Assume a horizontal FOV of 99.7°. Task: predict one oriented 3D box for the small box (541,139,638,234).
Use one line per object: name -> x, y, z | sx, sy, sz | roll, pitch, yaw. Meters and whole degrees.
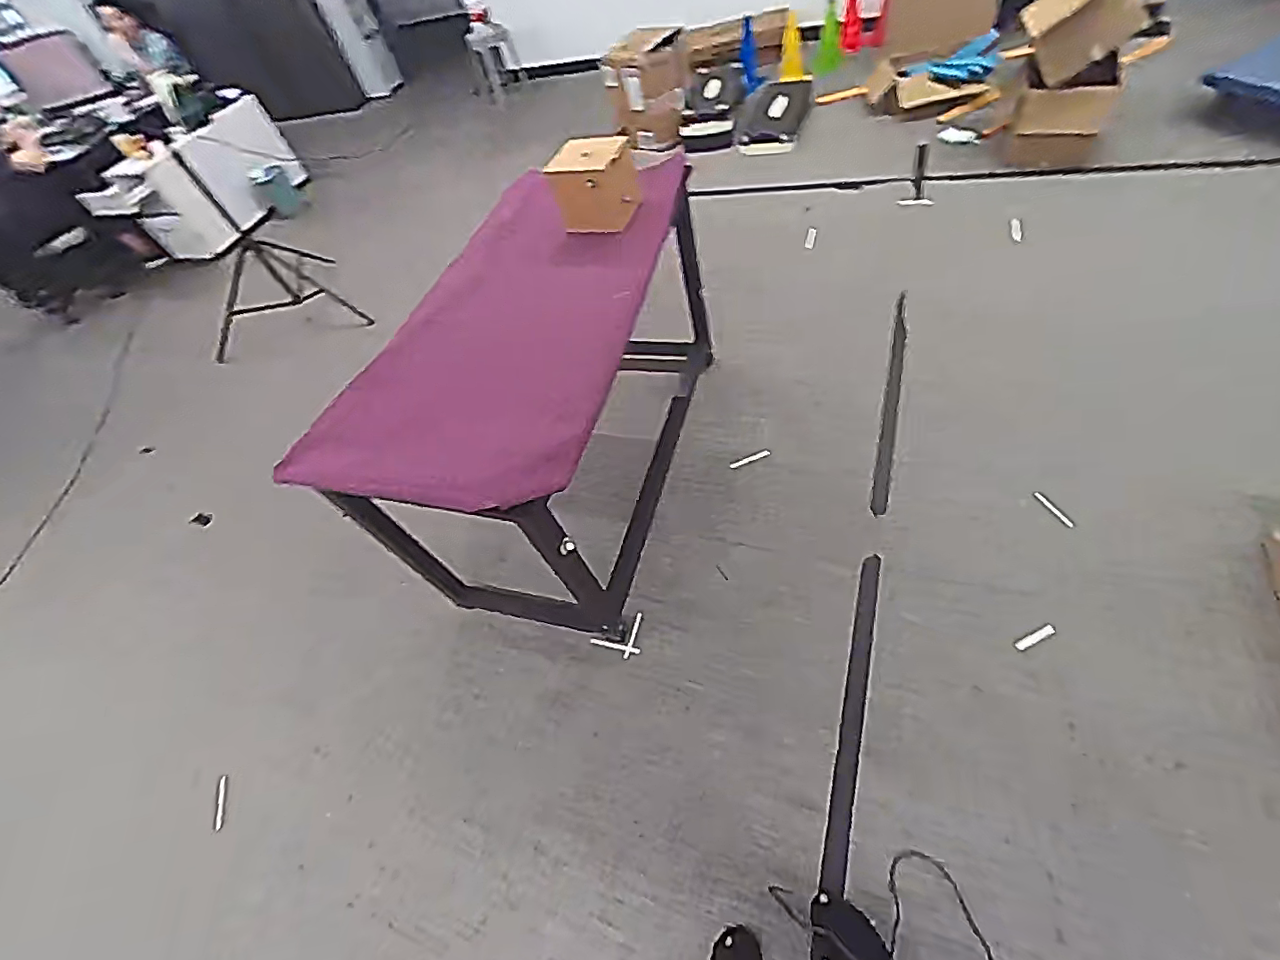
small box -> -0.128, -0.778, 1.444 | 0.179, 0.176, 0.168 | 11, 59, 23
